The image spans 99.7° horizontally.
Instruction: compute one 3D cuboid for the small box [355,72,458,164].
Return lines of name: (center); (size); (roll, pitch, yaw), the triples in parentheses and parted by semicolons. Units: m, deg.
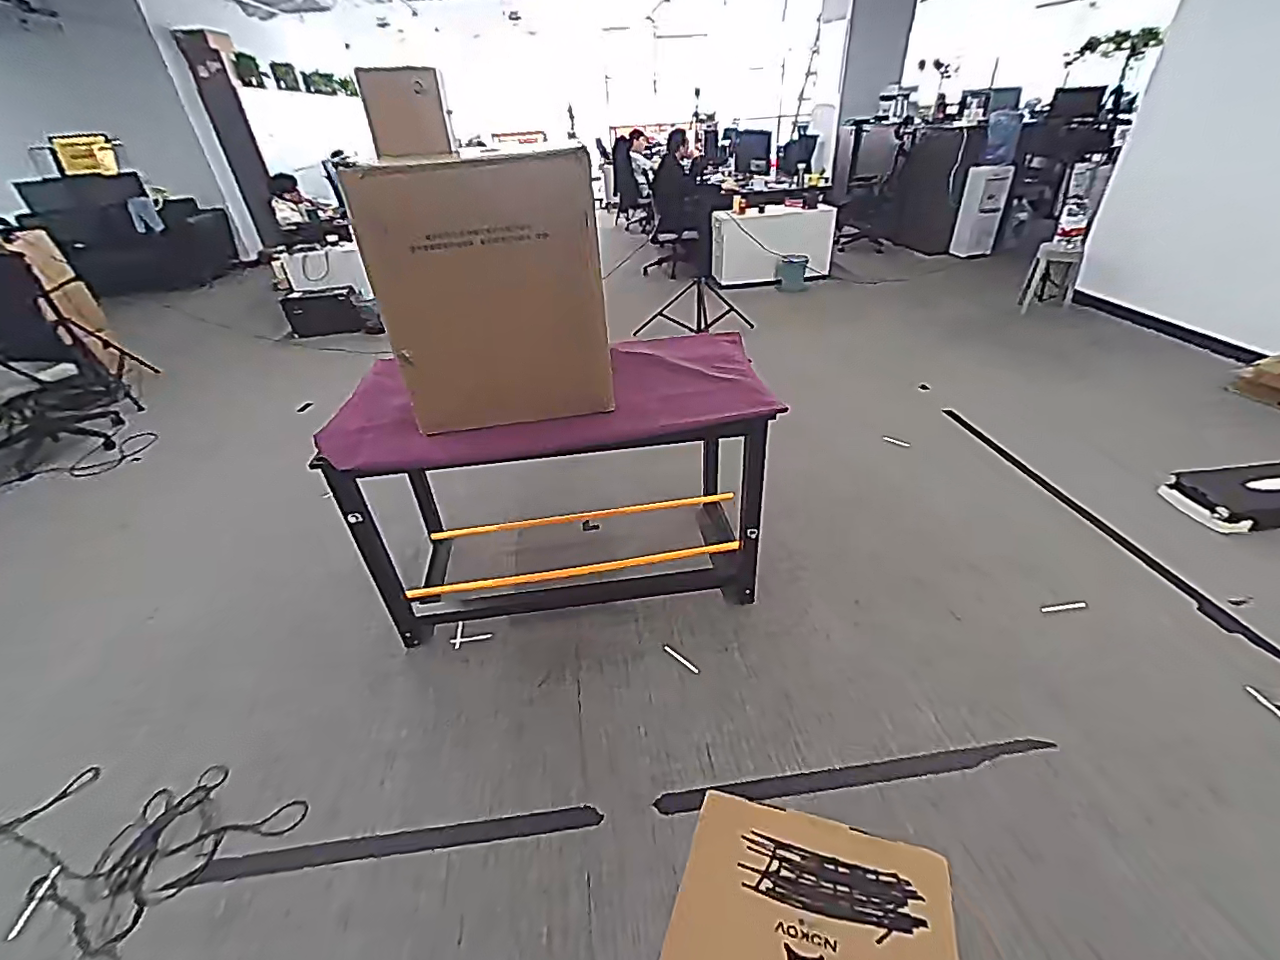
small box: (-0.542, -0.858, 1.286); (0.179, 0.176, 0.168); (-8, 34, -7)
